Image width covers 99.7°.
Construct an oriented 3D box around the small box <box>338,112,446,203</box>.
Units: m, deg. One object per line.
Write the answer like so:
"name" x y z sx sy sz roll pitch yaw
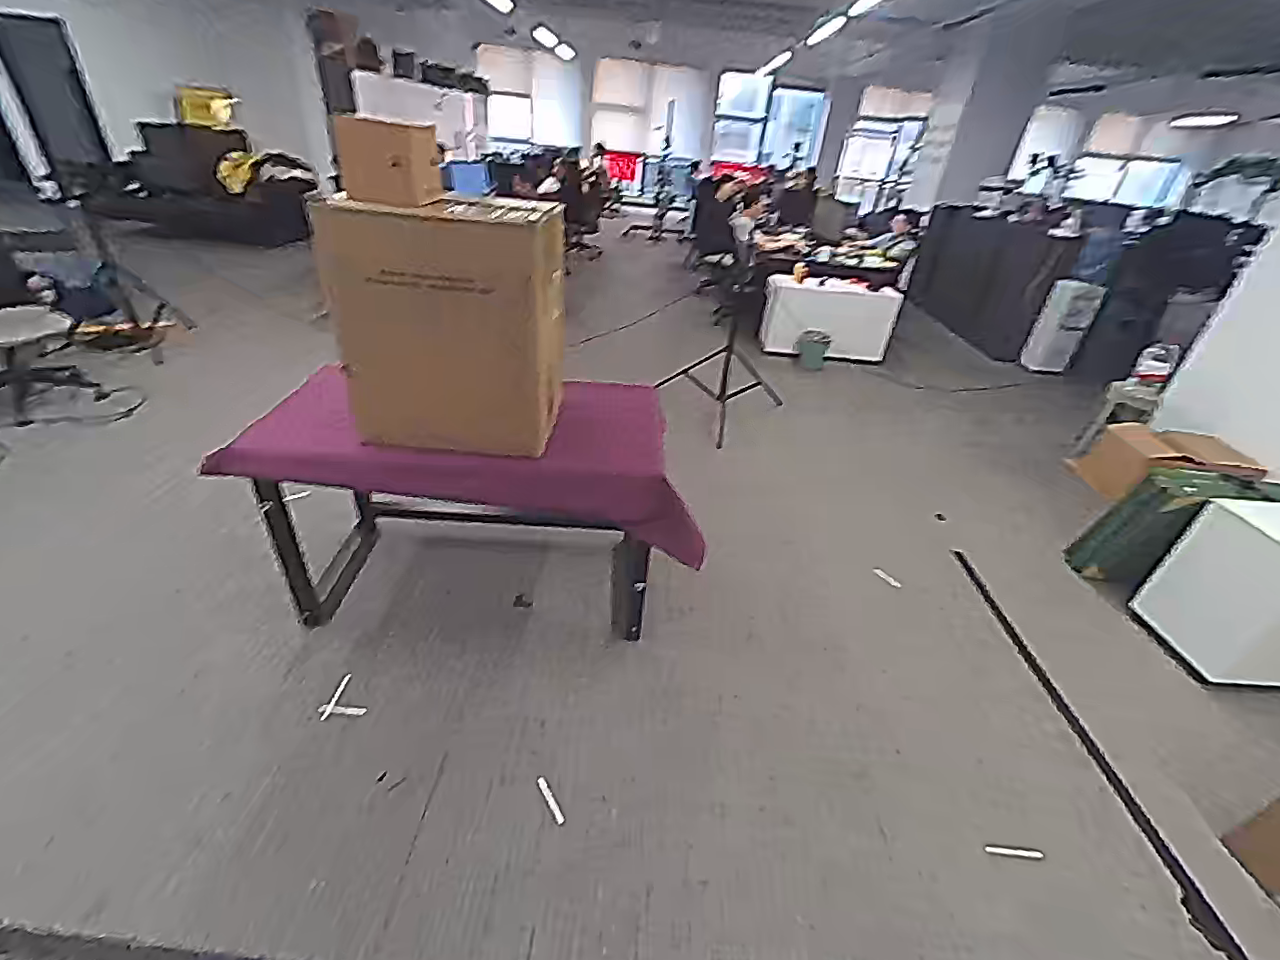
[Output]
"small box" -0.580 -0.769 1.294 0.179 0.176 0.168 6 32 0
